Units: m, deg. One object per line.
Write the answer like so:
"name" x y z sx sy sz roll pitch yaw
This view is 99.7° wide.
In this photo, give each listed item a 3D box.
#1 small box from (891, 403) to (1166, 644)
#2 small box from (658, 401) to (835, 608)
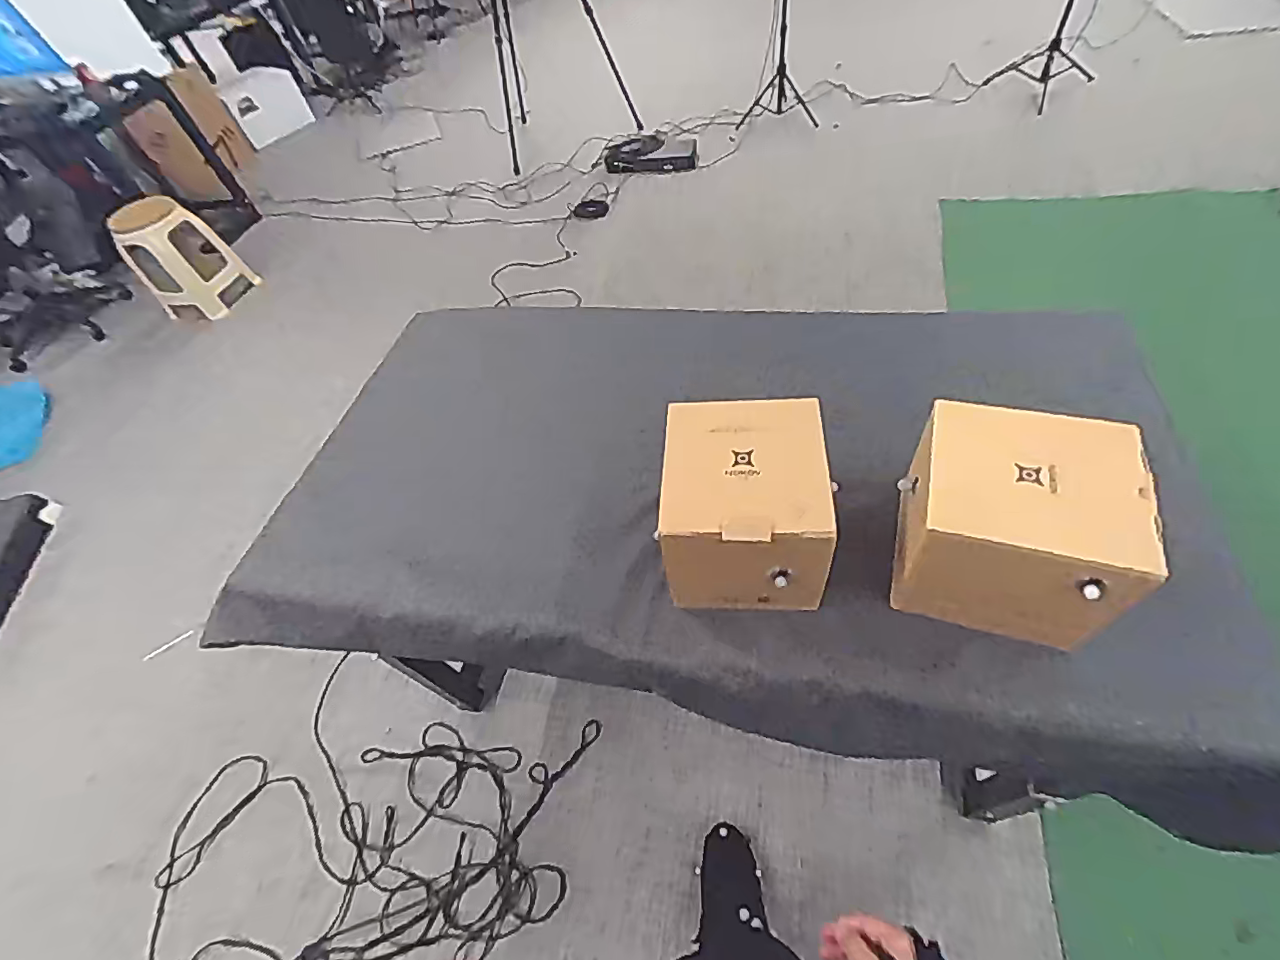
"small box" 0.370 0.047 0.554 0.179 0.176 0.168 12 56 18
"small box" 0.116 0.033 0.612 0.168 0.176 0.179 0 52 9
